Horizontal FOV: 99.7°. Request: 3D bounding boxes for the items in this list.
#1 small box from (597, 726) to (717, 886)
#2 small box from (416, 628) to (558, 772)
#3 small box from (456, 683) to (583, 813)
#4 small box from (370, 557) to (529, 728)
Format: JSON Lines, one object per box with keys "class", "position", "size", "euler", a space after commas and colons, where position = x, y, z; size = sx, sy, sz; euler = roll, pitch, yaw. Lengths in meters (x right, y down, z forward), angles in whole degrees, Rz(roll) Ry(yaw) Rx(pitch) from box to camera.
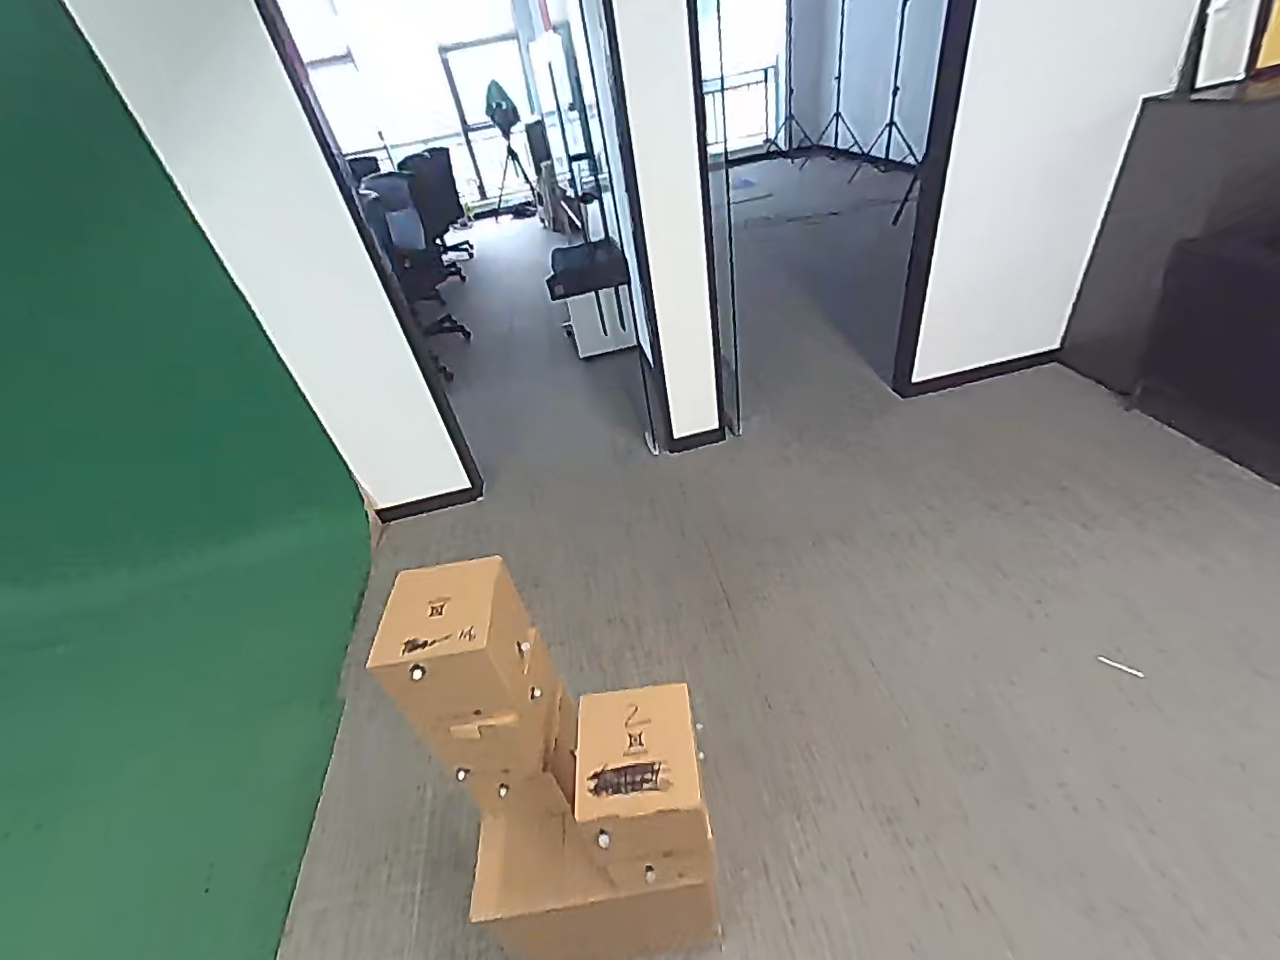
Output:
{"class": "small box", "position": [0.029, 0.551, 0.910], "size": [0.168, 0.176, 0.179], "euler": [-12, 37, -1]}
{"class": "small box", "position": [-0.247, 0.382, 0.928], "size": [0.168, 0.176, 0.179], "euler": [-6, 36, 7]}
{"class": "small box", "position": [-0.217, 0.511, 1.026], "size": [0.179, 0.176, 0.168], "euler": [-6, 38, 5]}
{"class": "small box", "position": [-0.277, 0.249, 0.834], "size": [0.168, 0.176, 0.179], "euler": [-11, 36, 2]}
